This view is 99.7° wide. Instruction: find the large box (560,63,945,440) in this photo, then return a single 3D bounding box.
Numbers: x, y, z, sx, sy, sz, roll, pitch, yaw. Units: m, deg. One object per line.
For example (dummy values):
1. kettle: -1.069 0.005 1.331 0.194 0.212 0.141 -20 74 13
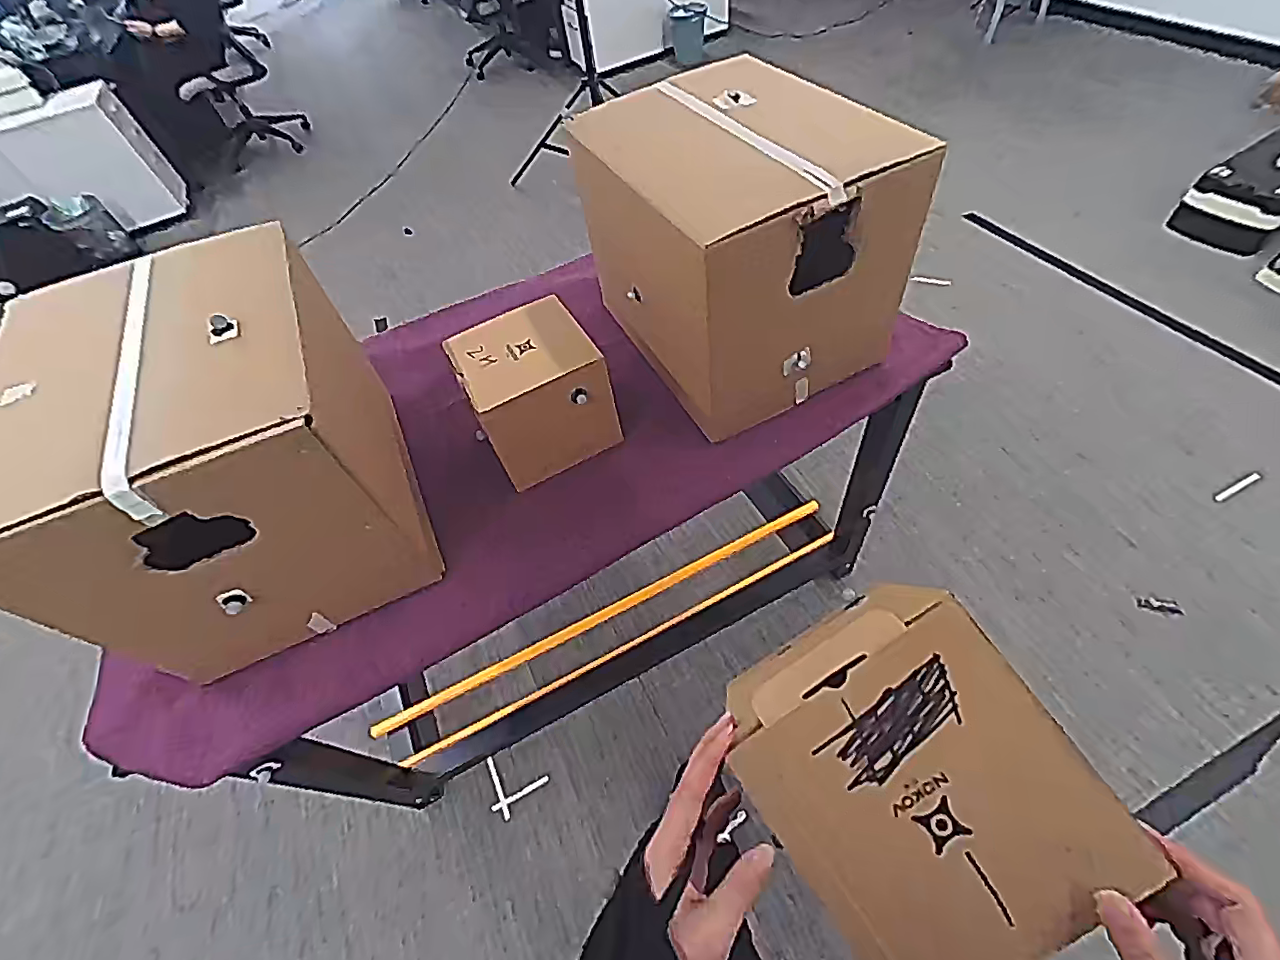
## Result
1. large box: 0.132 -0.336 0.788 0.320 0.320 0.408 -26 54 -10
